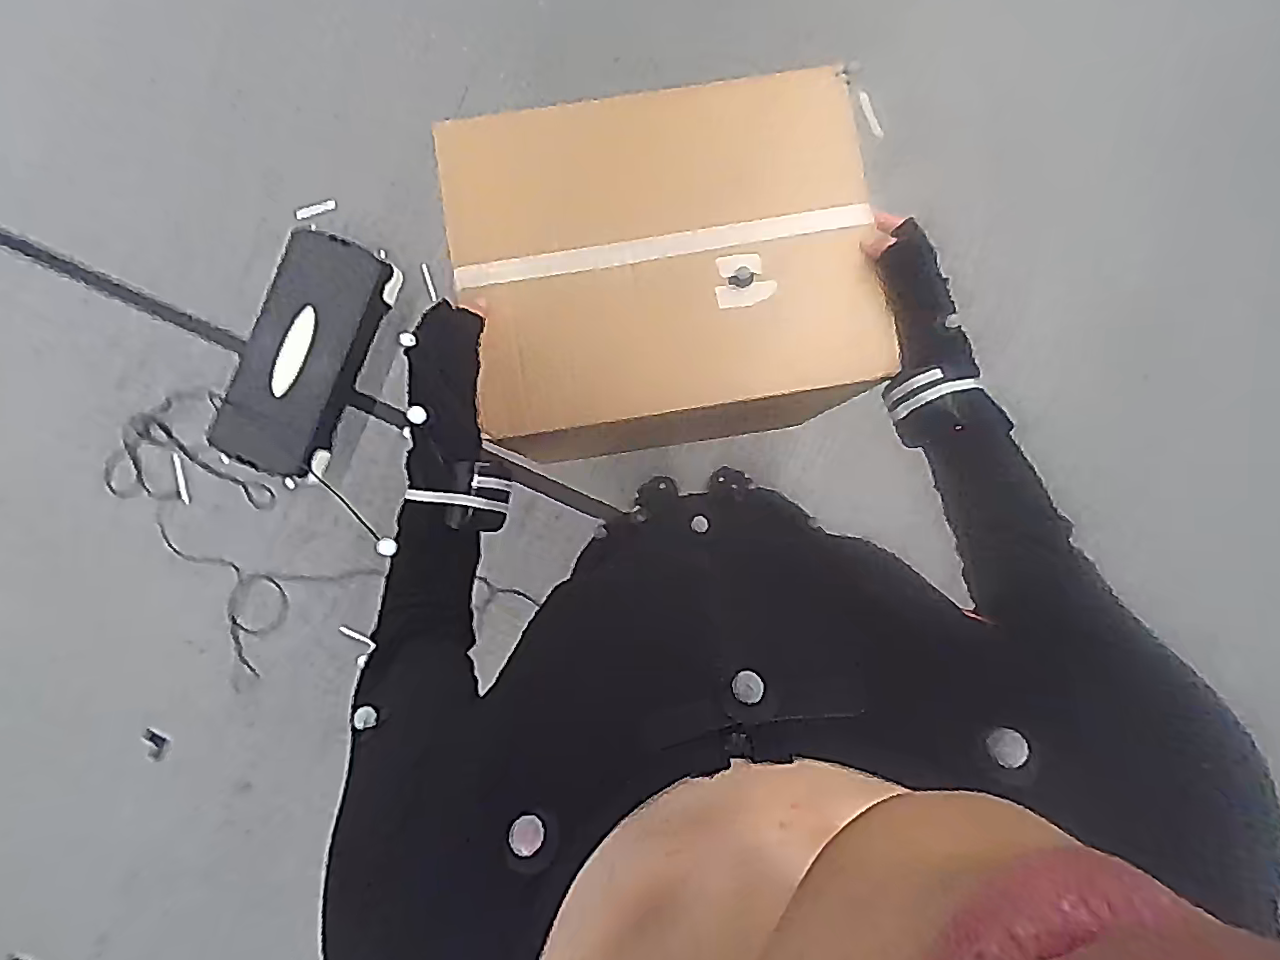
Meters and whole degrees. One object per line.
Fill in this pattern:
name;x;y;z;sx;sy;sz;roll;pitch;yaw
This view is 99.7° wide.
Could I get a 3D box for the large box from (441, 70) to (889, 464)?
large box;0.019;-0.219;0.679;0.408;0.320;0.320;-10;87;-2
